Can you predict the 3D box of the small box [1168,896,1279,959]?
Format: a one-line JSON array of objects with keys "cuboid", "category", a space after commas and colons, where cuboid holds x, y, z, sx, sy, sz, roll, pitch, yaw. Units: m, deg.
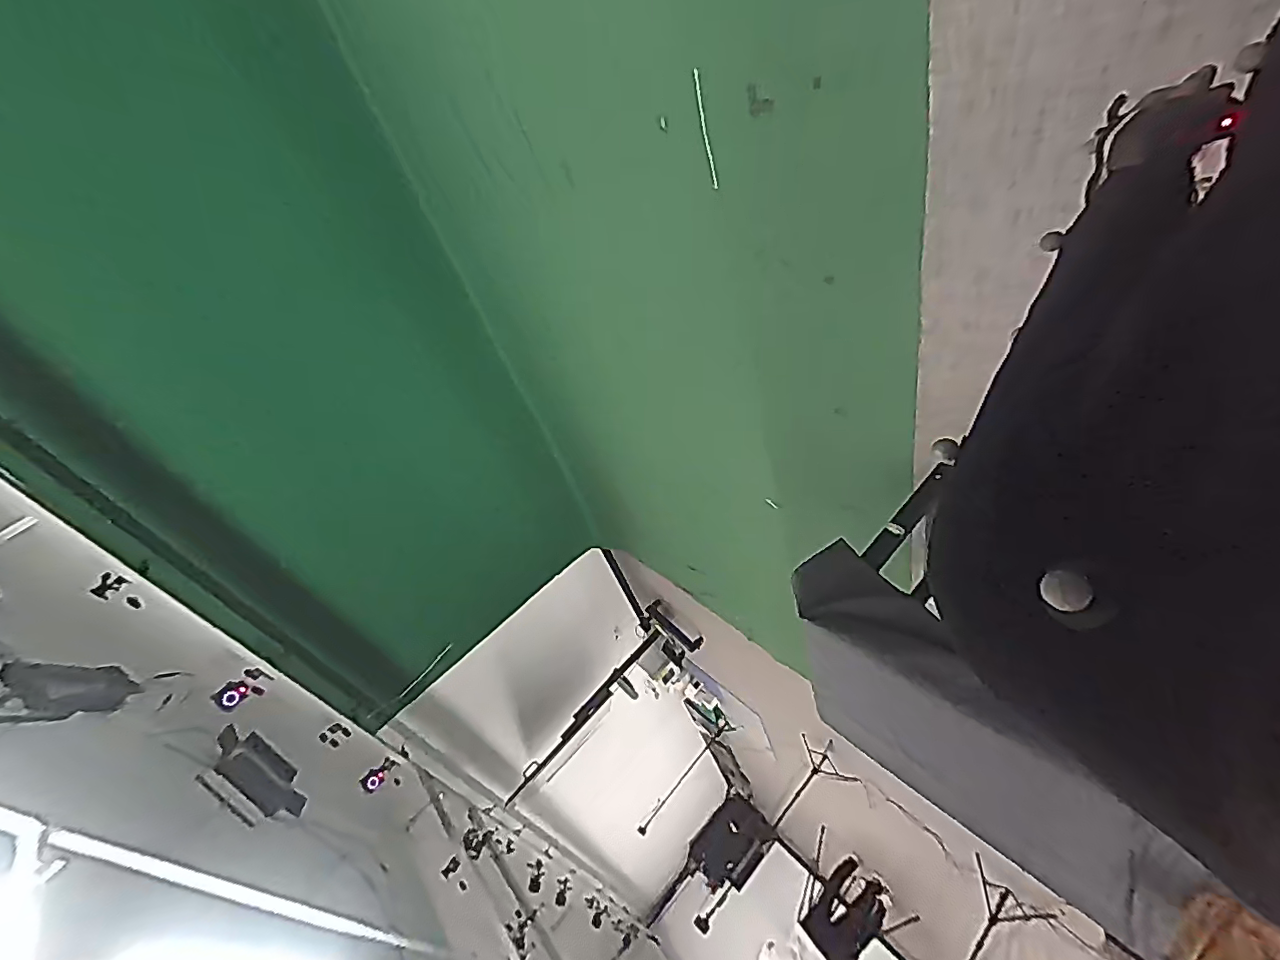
[{"cuboid": [1.016, 0.859, 0.908, 0.168, 0.176, 0.179, 25, 147, 48], "category": "small box"}]
